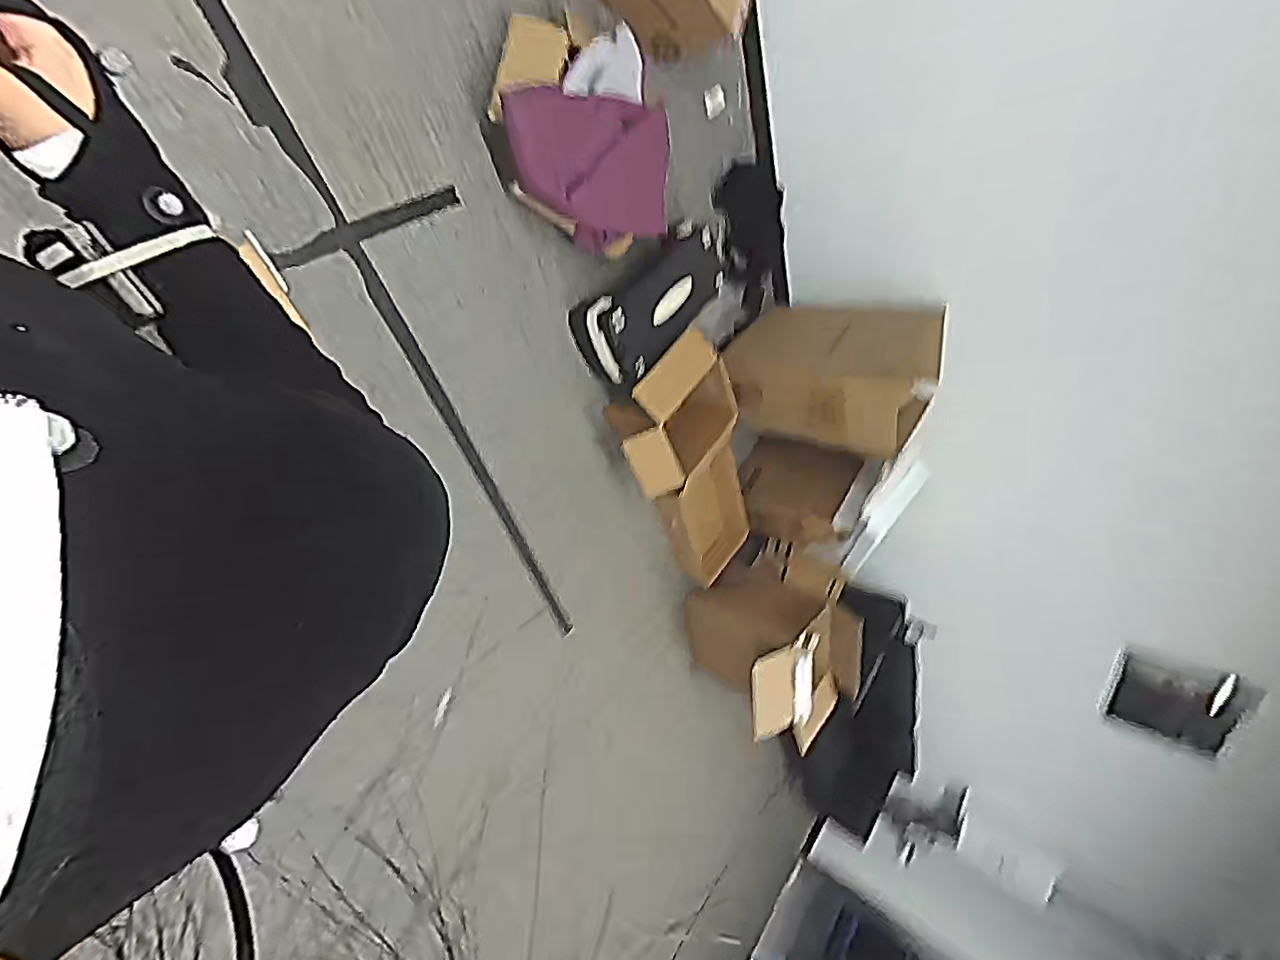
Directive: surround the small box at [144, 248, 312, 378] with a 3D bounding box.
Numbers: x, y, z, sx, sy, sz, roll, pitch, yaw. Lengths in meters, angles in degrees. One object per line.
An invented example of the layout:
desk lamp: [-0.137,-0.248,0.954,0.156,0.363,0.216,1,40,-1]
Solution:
small box: [-0.760,-0.309,0.999,0.168,0.176,0.179,-43,133,-31]
